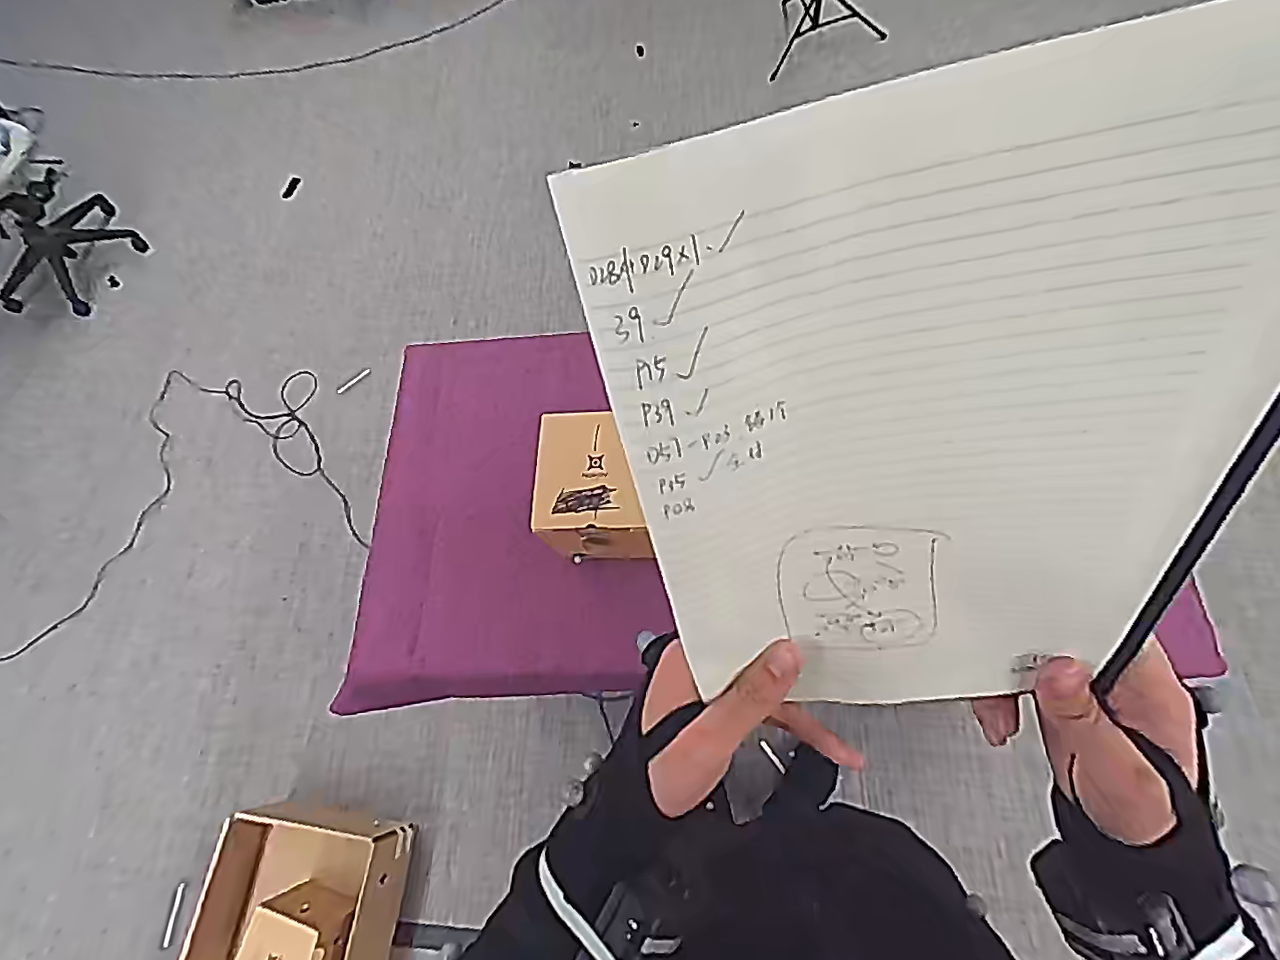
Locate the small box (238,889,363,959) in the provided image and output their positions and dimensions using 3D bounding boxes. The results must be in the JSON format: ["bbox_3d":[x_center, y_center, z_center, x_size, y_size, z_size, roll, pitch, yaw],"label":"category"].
[{"bbox_3d":[-0.776,1.075,1.233,0.179,0.176,0.168,11,71,12],"label":"small box"}]

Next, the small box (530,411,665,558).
[{"bbox_3d":[-0.051,0.016,0.799,0.168,0.176,0.179,-2,68,8],"label":"small box"}]
